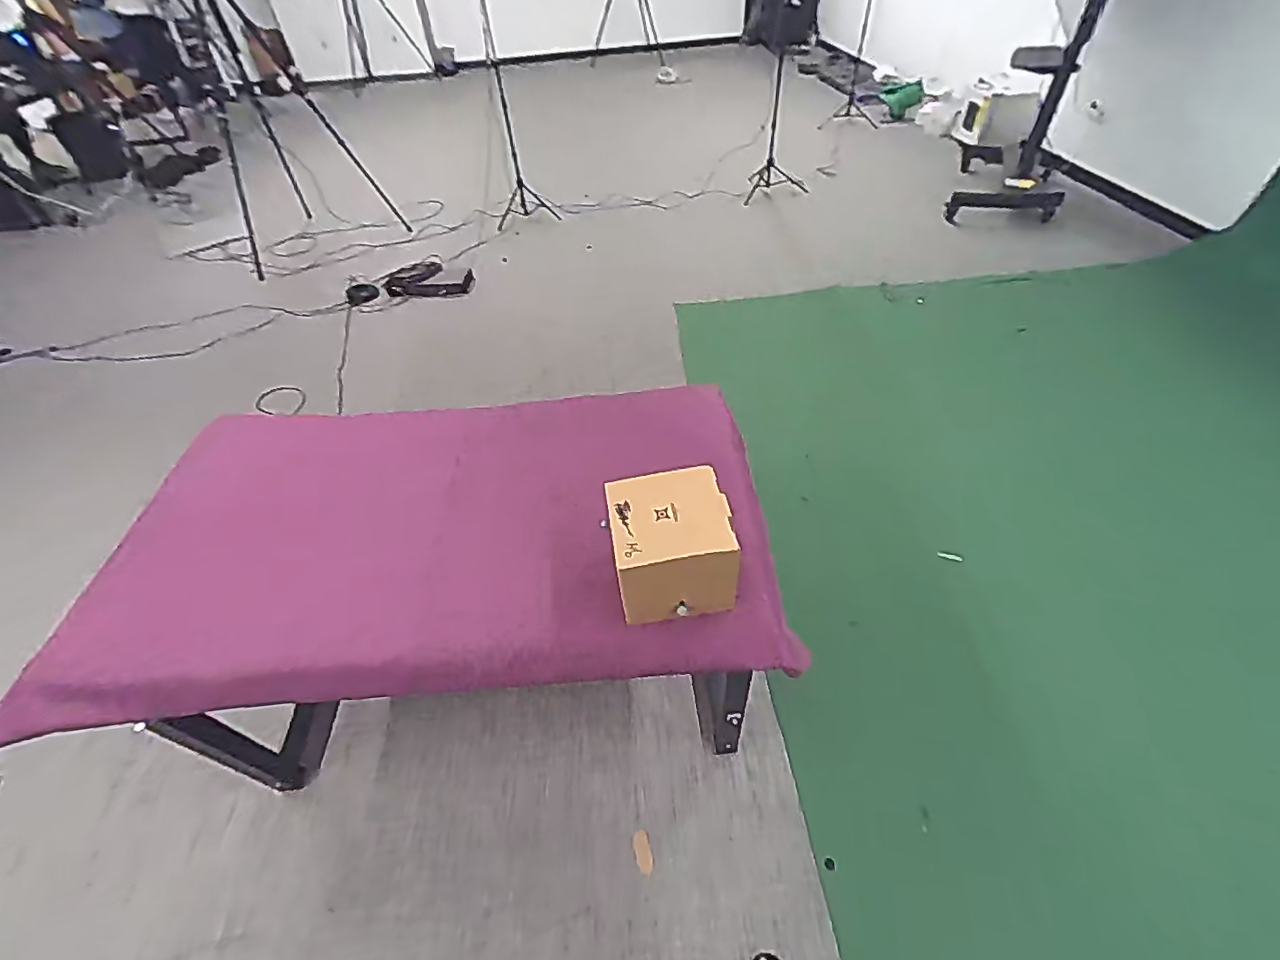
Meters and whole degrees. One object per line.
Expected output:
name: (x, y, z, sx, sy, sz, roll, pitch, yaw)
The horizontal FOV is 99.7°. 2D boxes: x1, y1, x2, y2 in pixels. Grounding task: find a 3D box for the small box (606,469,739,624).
small box: (0.046, 0.107, 0.856, 0.179, 0.176, 0.168, -9, 47, -3)
